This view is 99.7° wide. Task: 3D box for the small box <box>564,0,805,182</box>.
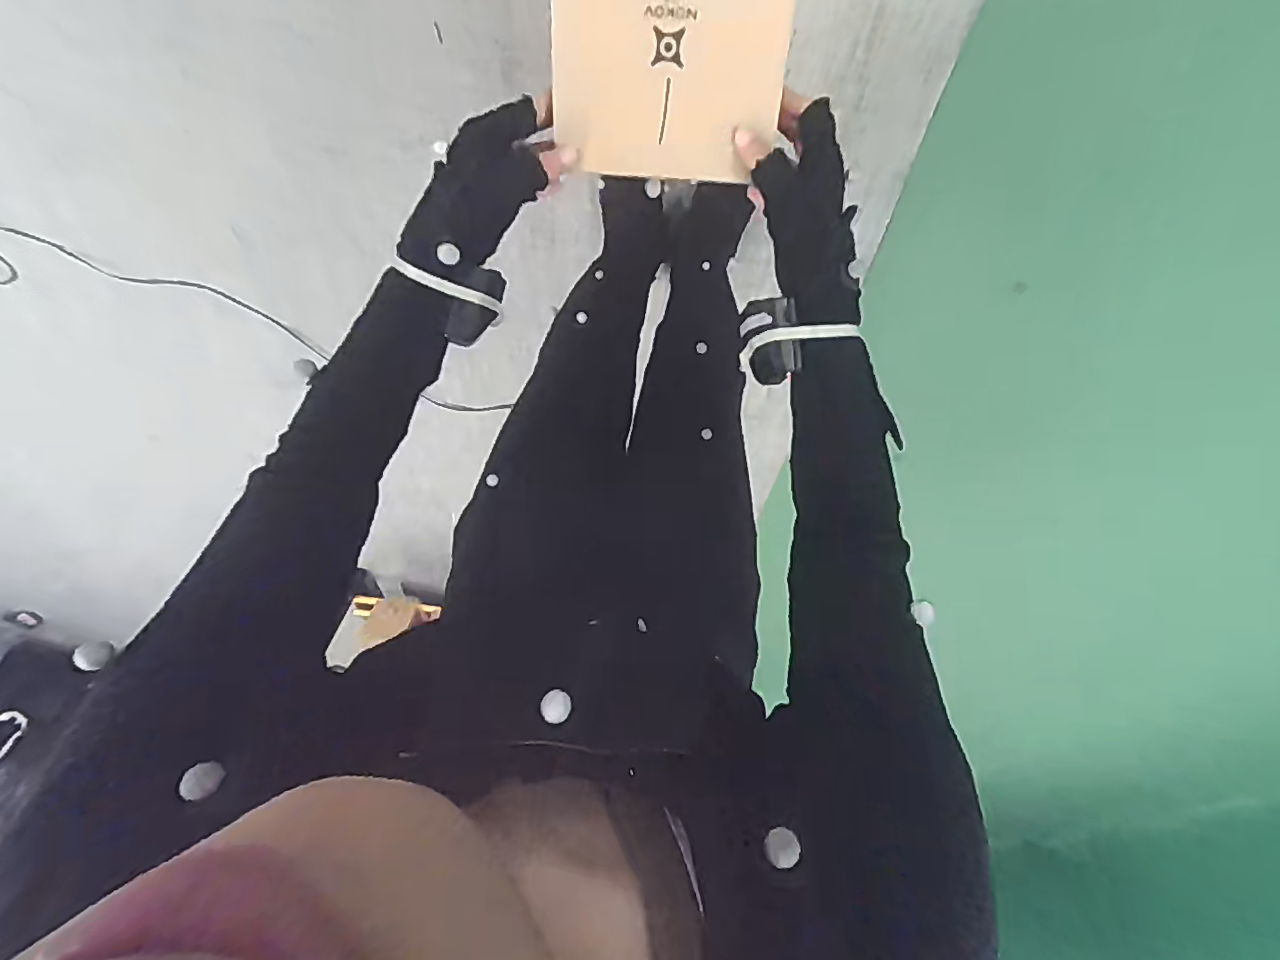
[{"bbox_3d":[0.030,-0.349,0.441,0.168,0.176,0.179,3,120,0],"label":"small box"}]
